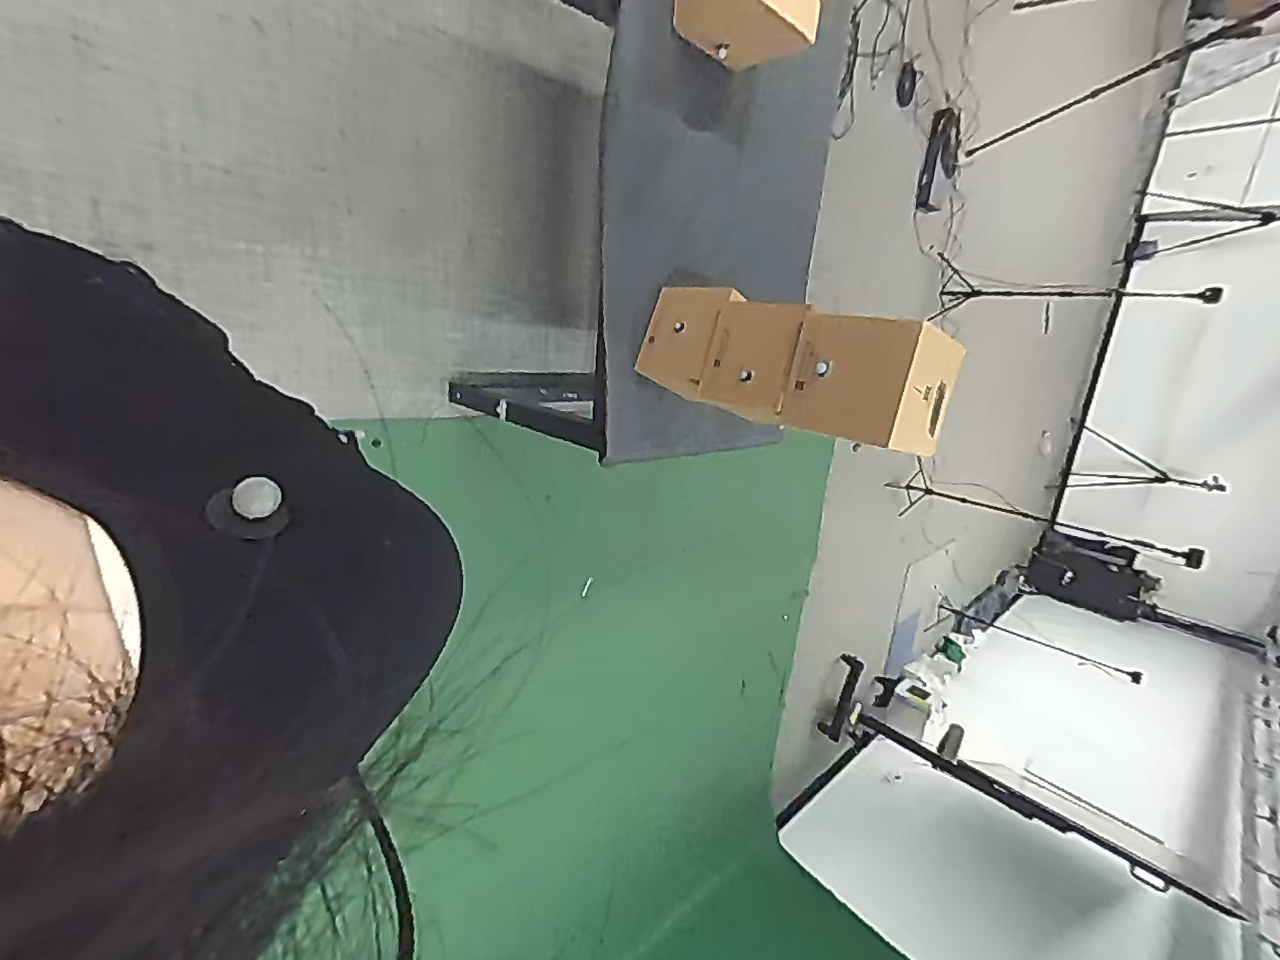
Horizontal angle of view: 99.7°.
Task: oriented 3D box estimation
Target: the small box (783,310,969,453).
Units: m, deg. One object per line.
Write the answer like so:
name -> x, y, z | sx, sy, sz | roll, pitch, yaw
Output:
small box -> 0.336, -0.143, 0.777 | 0.179, 0.176, 0.168 | 3, 103, -45

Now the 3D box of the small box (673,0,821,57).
small box -> 0.178, -0.813, 0.859 | 0.179, 0.176, 0.168 | -10, 111, -43

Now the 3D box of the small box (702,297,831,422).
small box -> 0.230, -0.192, 0.893 | 0.179, 0.176, 0.168 | 11, 98, -47

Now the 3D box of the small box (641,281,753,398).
small box -> 0.129, -0.251, 1.007 | 0.179, 0.176, 0.168 | 18, 92, -48
